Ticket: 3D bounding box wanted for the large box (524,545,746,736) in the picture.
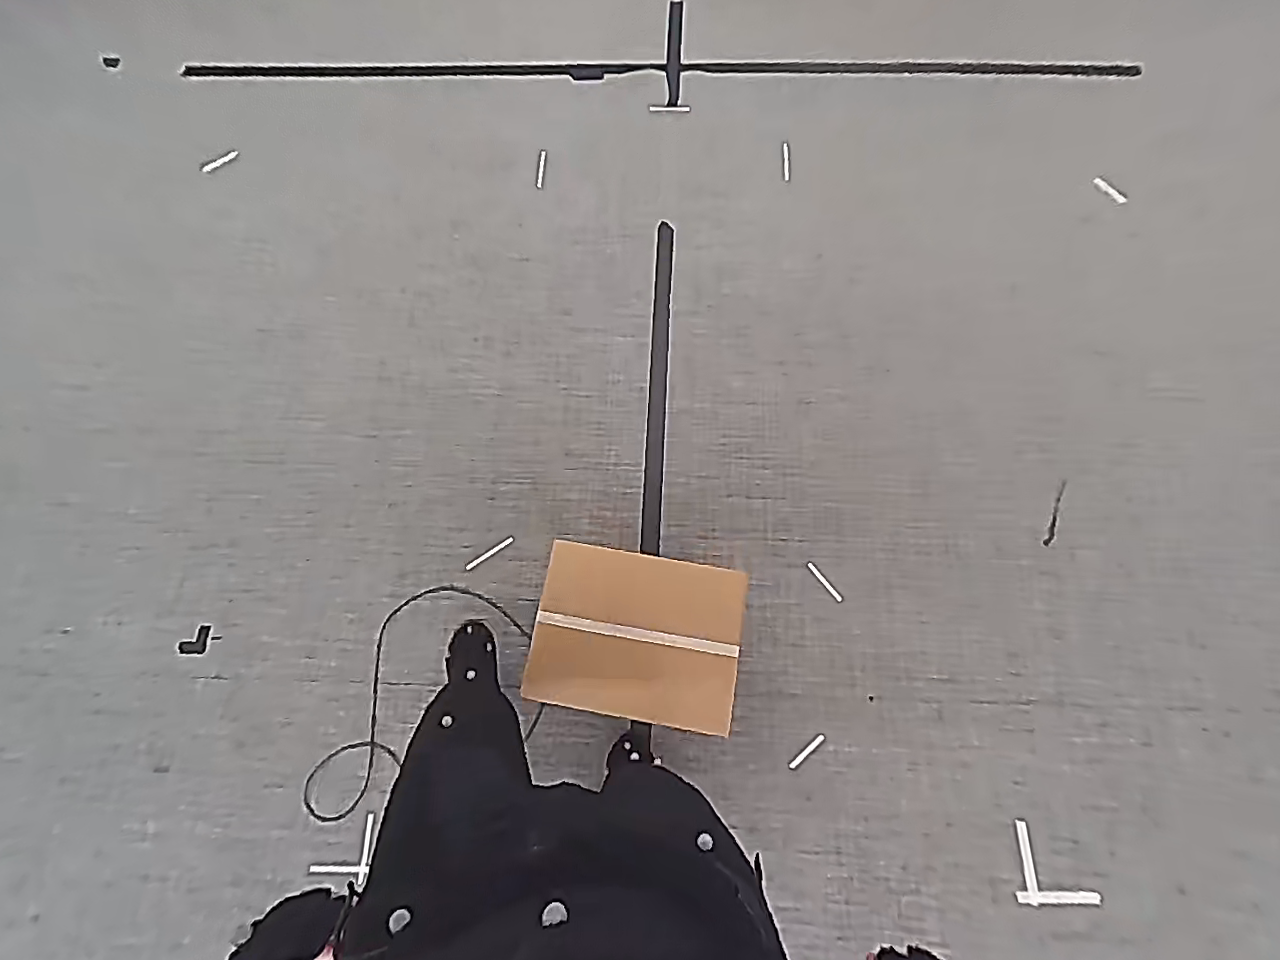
[{"bbox_3d":[-0.001,0.348,1.202,0.408,0.320,0.320,9,73,3],"label":"large box"}]
